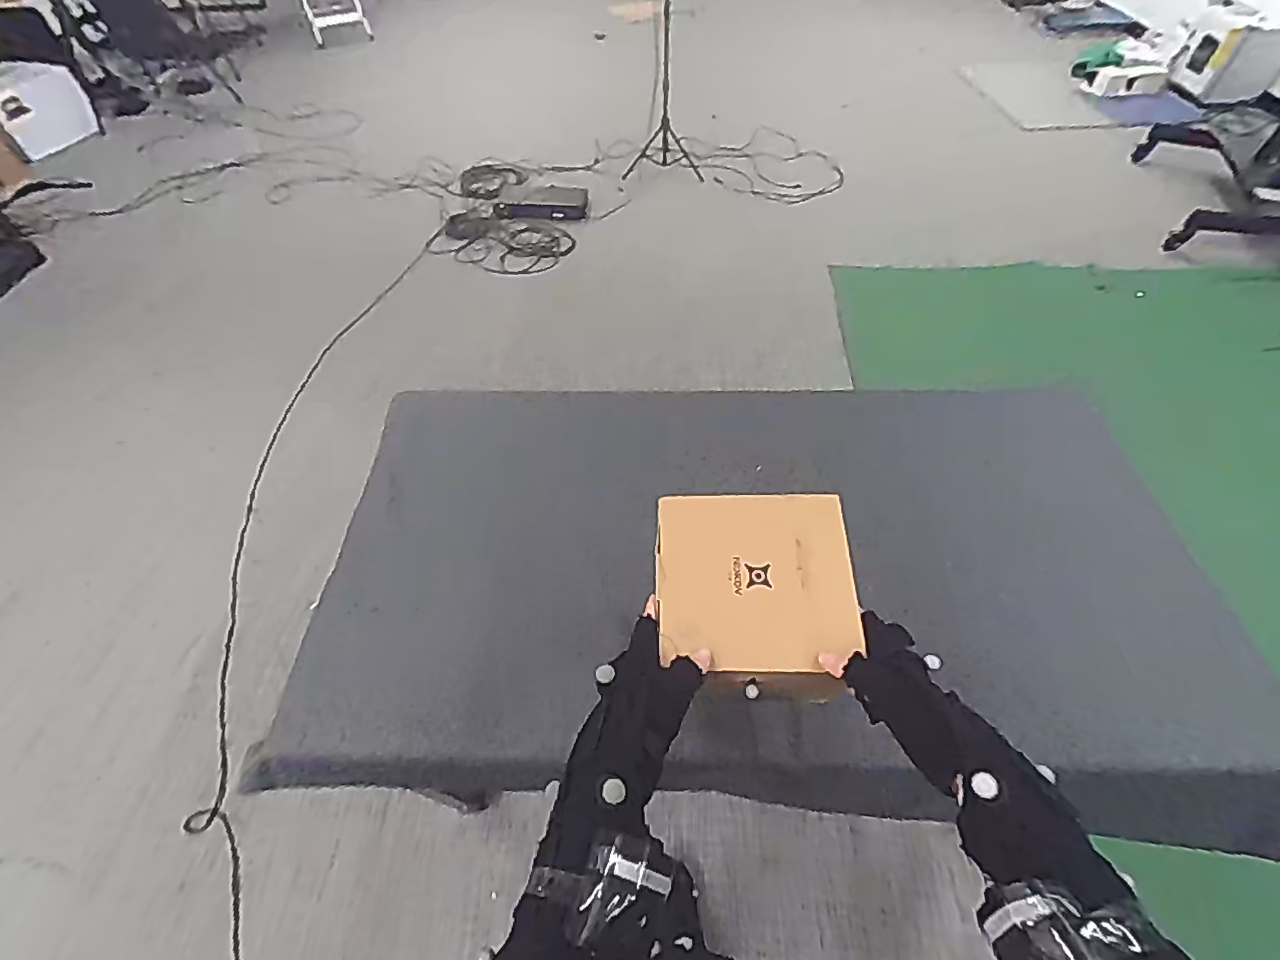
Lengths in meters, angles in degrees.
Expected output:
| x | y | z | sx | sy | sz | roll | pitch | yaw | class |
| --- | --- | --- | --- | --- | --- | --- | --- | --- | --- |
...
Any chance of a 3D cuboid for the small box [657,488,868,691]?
| x | y | z | sx | sy | sz | roll | pitch | yaw | class |
| --- | --- | --- | --- | --- | --- | --- | --- | --- | --- |
| 0.111 | 0.121 | 0.562 | 0.179 | 0.176 | 0.168 | -2 | 61 | 3 | small box |
